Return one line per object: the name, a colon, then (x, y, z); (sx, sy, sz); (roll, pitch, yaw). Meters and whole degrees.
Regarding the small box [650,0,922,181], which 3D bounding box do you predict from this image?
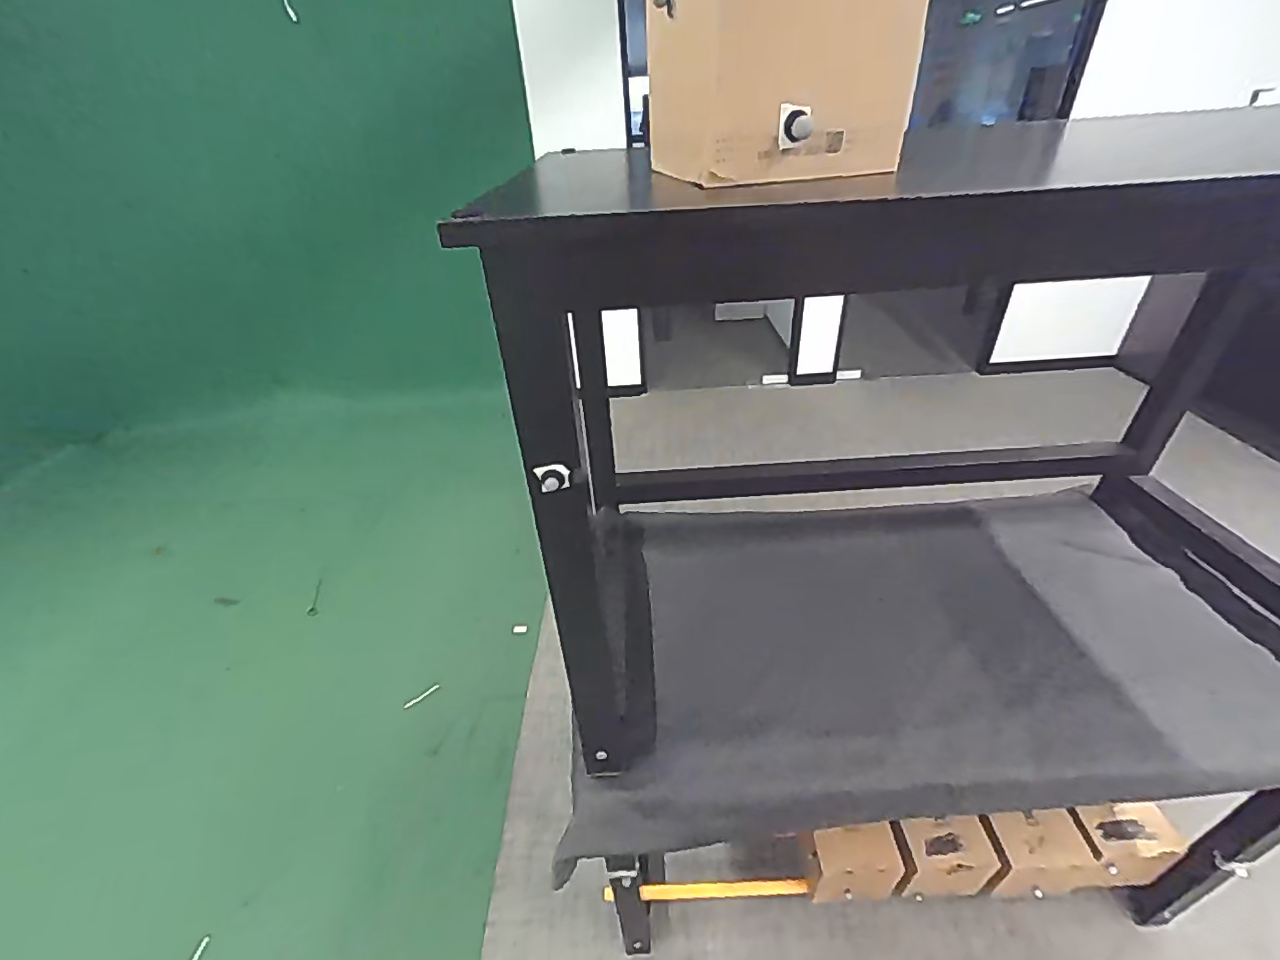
small box: (0.105, -0.357, 0.454); (0.168, 0.176, 0.179); (-11, 36, -8)
